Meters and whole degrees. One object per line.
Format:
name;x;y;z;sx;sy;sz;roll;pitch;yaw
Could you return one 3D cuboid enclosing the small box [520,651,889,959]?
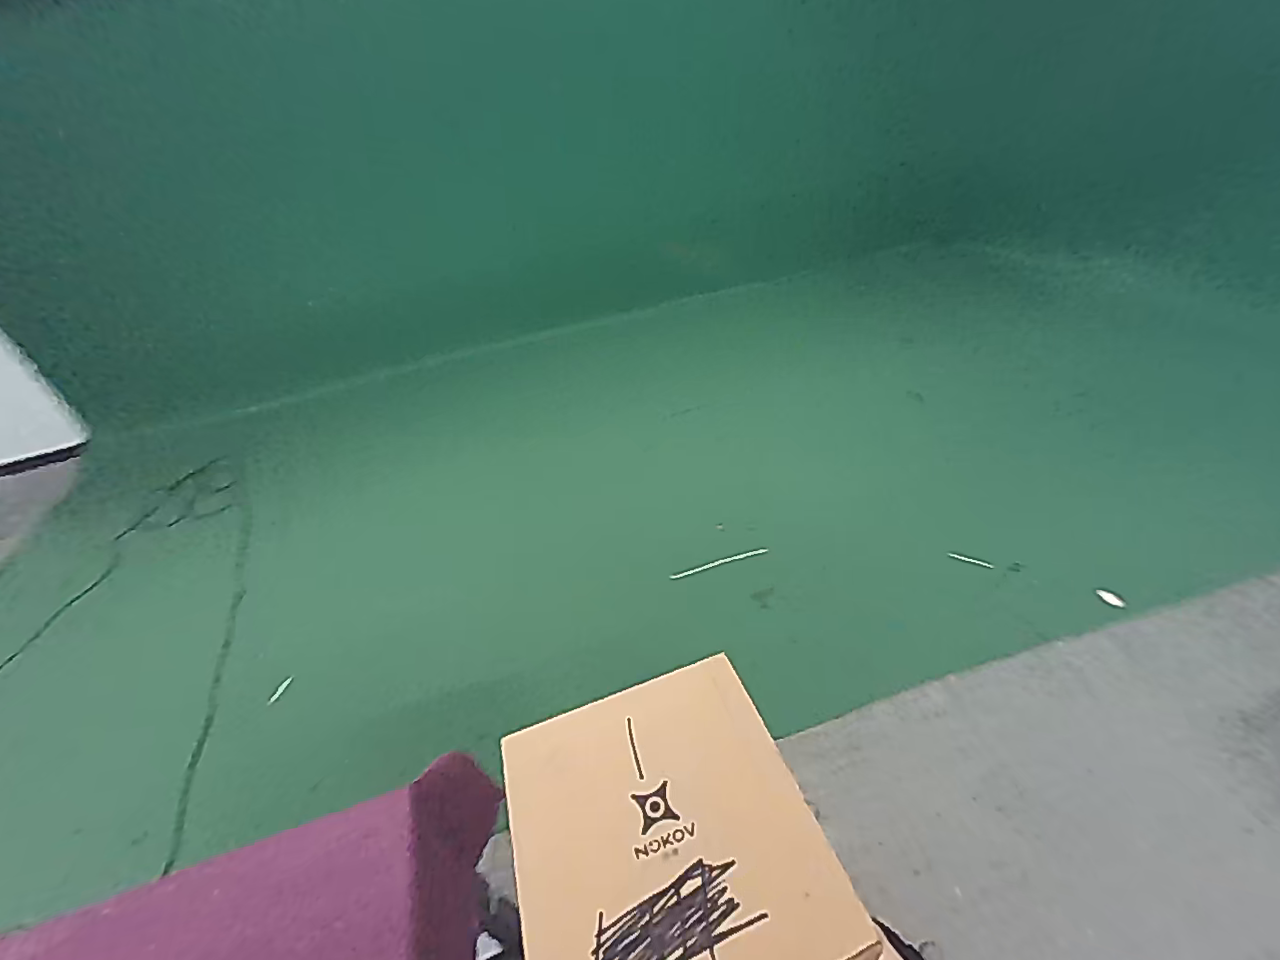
small box;0.031;0.254;0.357;0.168;0.176;0.179;-17;37;-9
